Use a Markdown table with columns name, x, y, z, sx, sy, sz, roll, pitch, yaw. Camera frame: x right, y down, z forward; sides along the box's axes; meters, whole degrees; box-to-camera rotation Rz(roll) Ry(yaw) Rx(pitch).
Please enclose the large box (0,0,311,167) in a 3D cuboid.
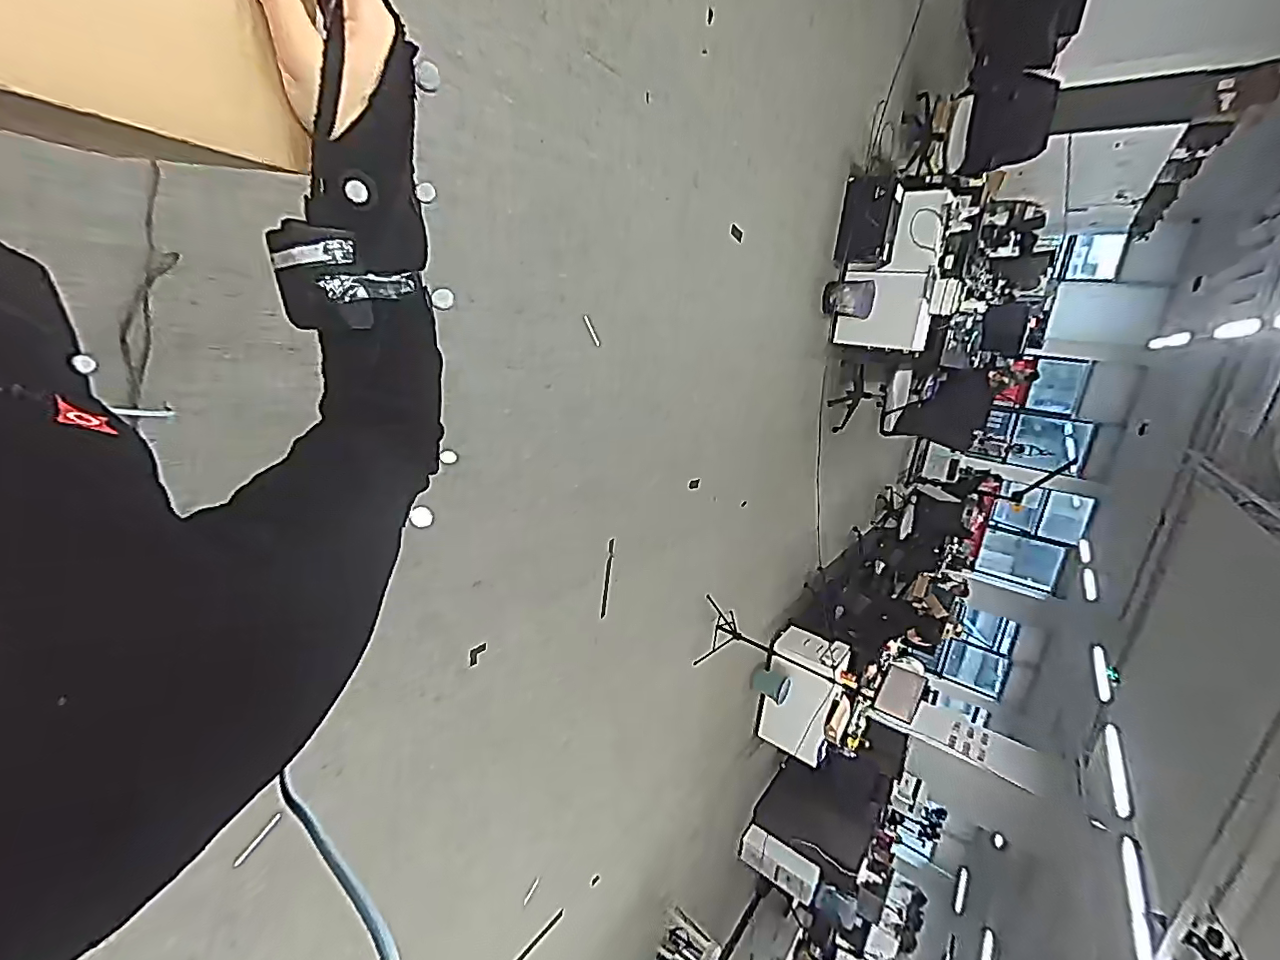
| name | x | y | z | sx | sy | sz | roll | pitch | yaw |
| --- | --- | --- | --- | --- | --- | --- | --- | --- | --- |
| large box | -0.407 | -0.341 | 0.190 | 0.408 | 0.320 | 0.320 | -19 | 126 | -57 |
